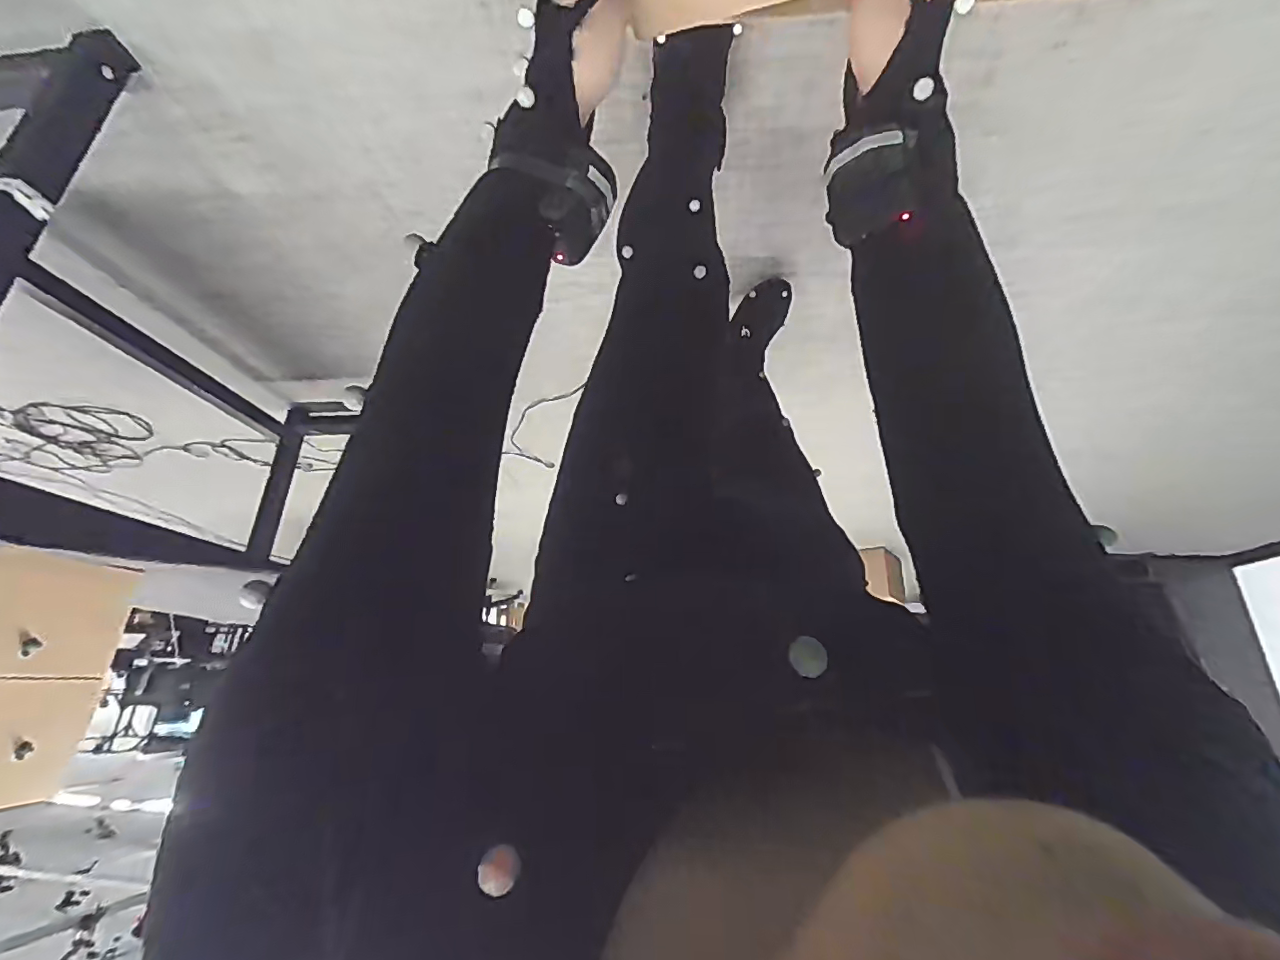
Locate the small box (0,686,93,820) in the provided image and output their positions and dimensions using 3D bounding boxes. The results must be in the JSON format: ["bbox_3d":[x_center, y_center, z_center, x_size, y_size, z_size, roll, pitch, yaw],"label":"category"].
[{"bbox_3d":[-0.914,0.357,0.721,0.168,0.176,0.179,2,161,3],"label":"small box"}]

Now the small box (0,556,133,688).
[{"bbox_3d":[-0.894,0.199,0.765,0.168,0.176,0.179,3,160,2],"label":"small box"}]

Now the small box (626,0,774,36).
[{"bbox_3d":[0.061,-0.474,0.382,0.179,0.176,0.168,-6,156,13],"label":"small box"}]
